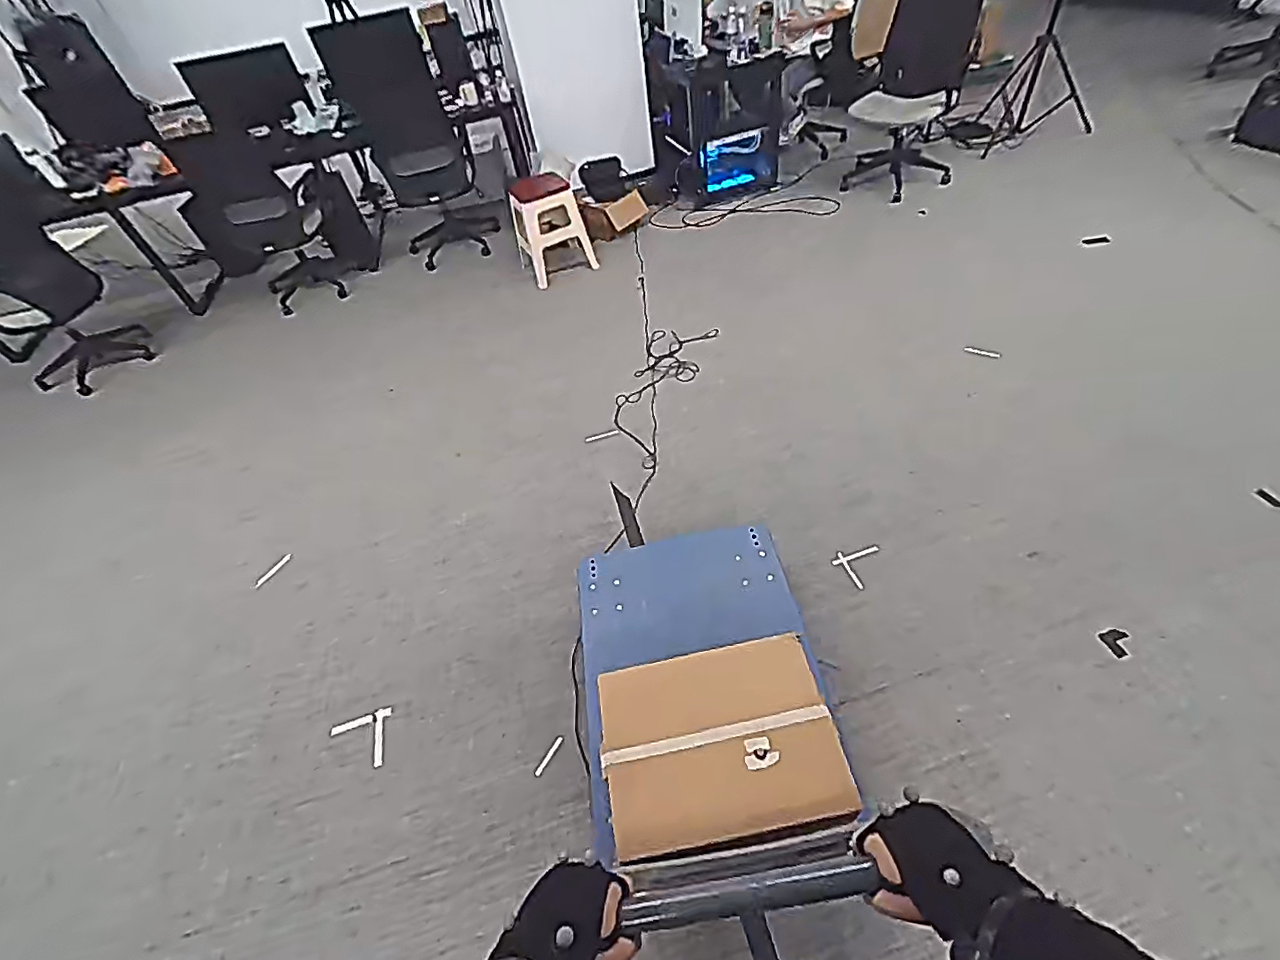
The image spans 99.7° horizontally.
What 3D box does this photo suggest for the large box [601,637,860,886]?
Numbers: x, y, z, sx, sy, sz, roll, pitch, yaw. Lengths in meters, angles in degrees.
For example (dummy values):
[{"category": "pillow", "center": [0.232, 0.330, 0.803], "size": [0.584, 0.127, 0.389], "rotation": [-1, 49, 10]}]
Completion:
[{"category": "large box", "center": [0.160, 0.565, 1.081], "size": [0.408, 0.320, 0.320], "rotation": [-13, 48, -1]}]
